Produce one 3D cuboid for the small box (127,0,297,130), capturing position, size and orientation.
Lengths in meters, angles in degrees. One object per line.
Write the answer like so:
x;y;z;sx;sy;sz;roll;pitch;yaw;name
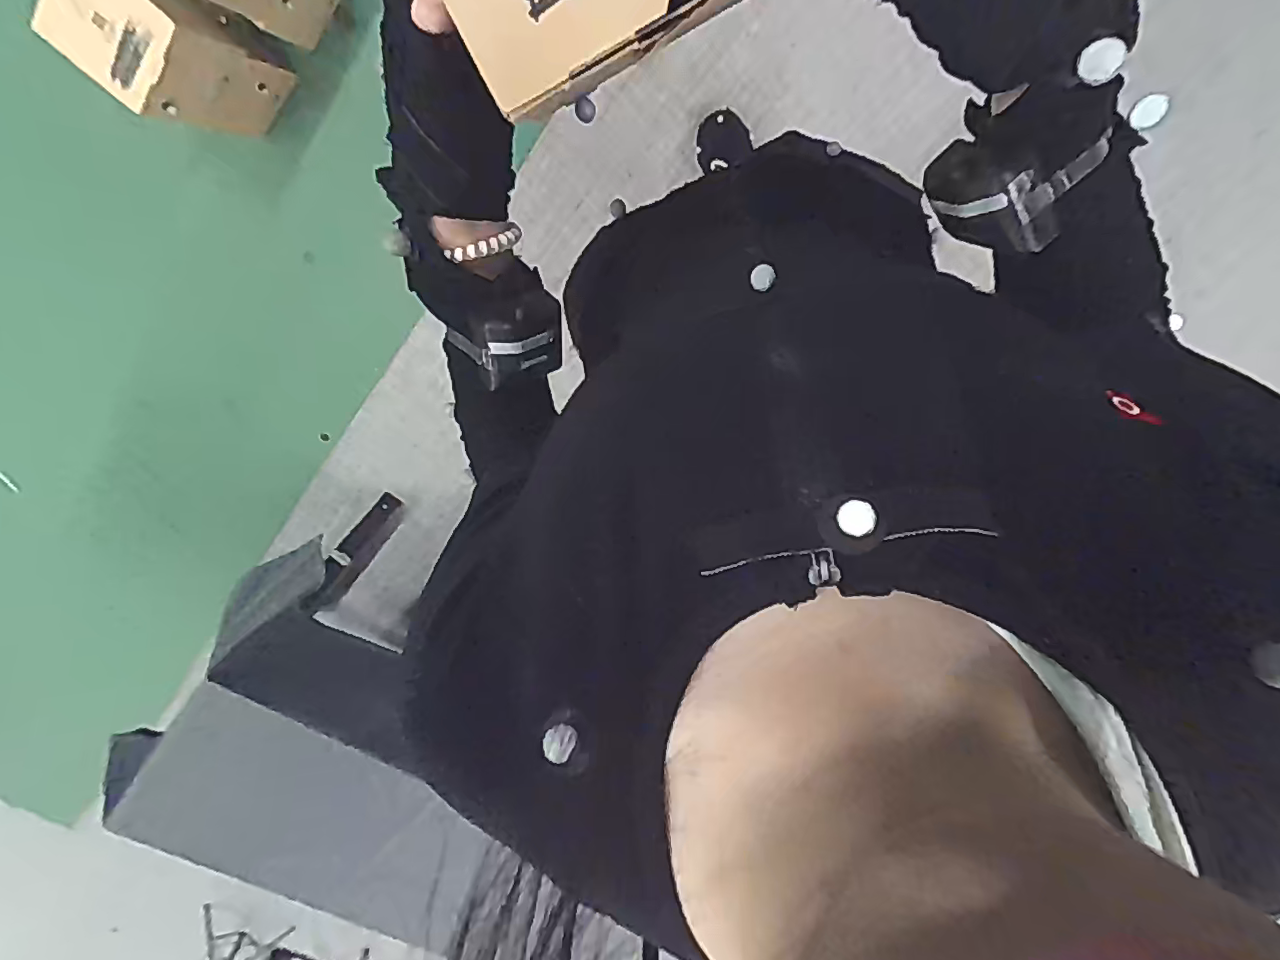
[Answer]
-0.839;-0.836;1.081;0.168;0.176;0.179;-40;110;19;small box
